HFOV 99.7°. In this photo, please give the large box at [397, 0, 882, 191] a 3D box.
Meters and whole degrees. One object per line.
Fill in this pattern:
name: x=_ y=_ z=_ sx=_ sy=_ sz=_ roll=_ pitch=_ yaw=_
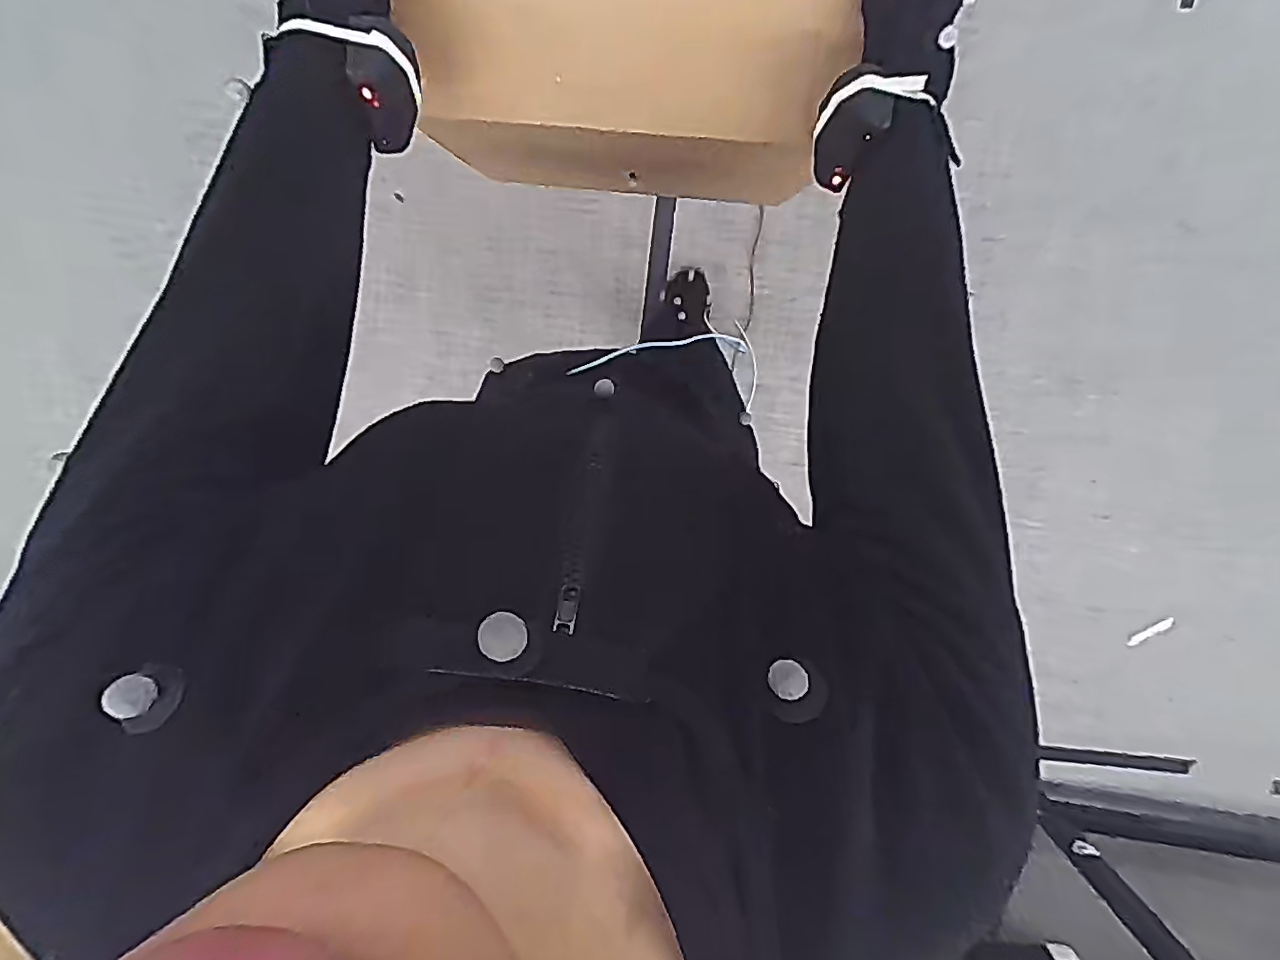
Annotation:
large box: x=0.007 y=-0.503 z=0.559 sx=0.408 sy=0.320 sz=0.320 roll=5 pitch=108 yaw=-1
